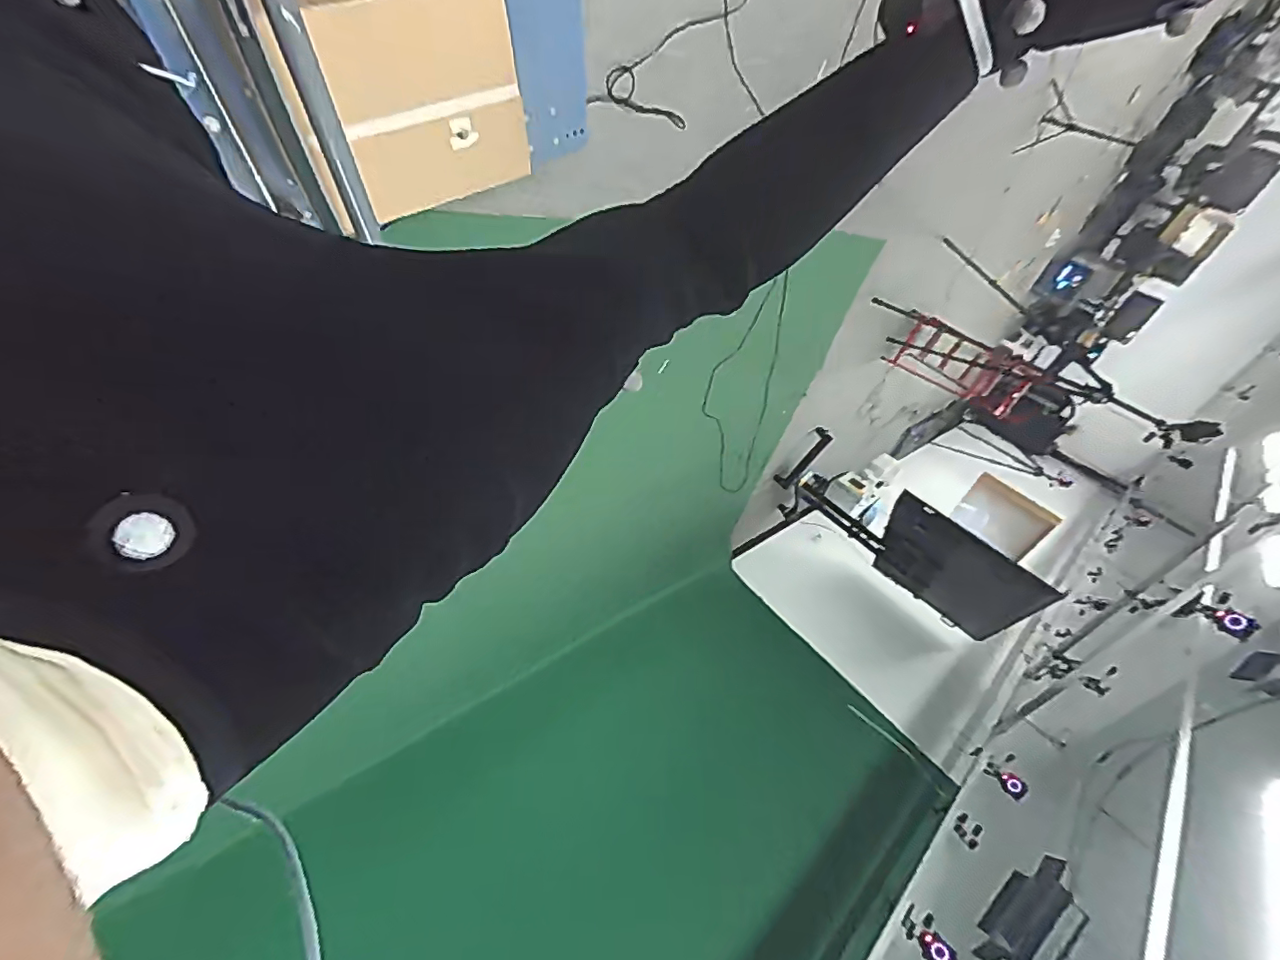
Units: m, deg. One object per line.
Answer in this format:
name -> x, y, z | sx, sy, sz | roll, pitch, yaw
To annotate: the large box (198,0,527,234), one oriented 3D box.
large box -> -0.484, -0.725, 1.009 | 0.408, 0.320, 0.320 | -34, 149, -24
